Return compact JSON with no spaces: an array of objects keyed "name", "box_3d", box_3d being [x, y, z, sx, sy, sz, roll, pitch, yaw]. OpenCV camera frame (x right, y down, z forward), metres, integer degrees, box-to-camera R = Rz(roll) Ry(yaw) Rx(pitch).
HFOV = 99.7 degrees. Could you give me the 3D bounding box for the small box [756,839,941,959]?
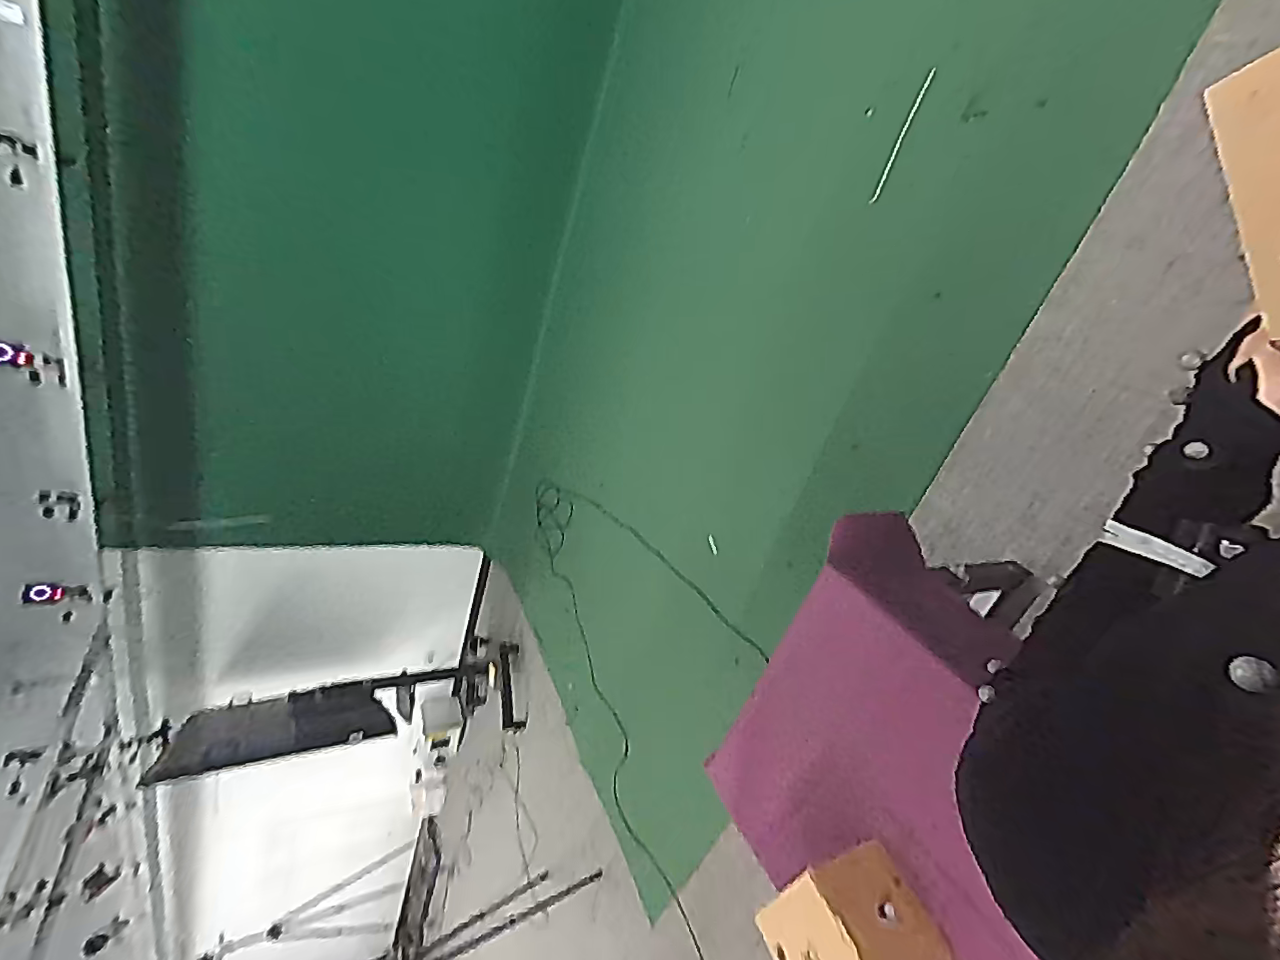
[{"name":"small box","box_3d":[0.319,0.689,0.826,0.168,0.176,0.179,57,132,43]}]
